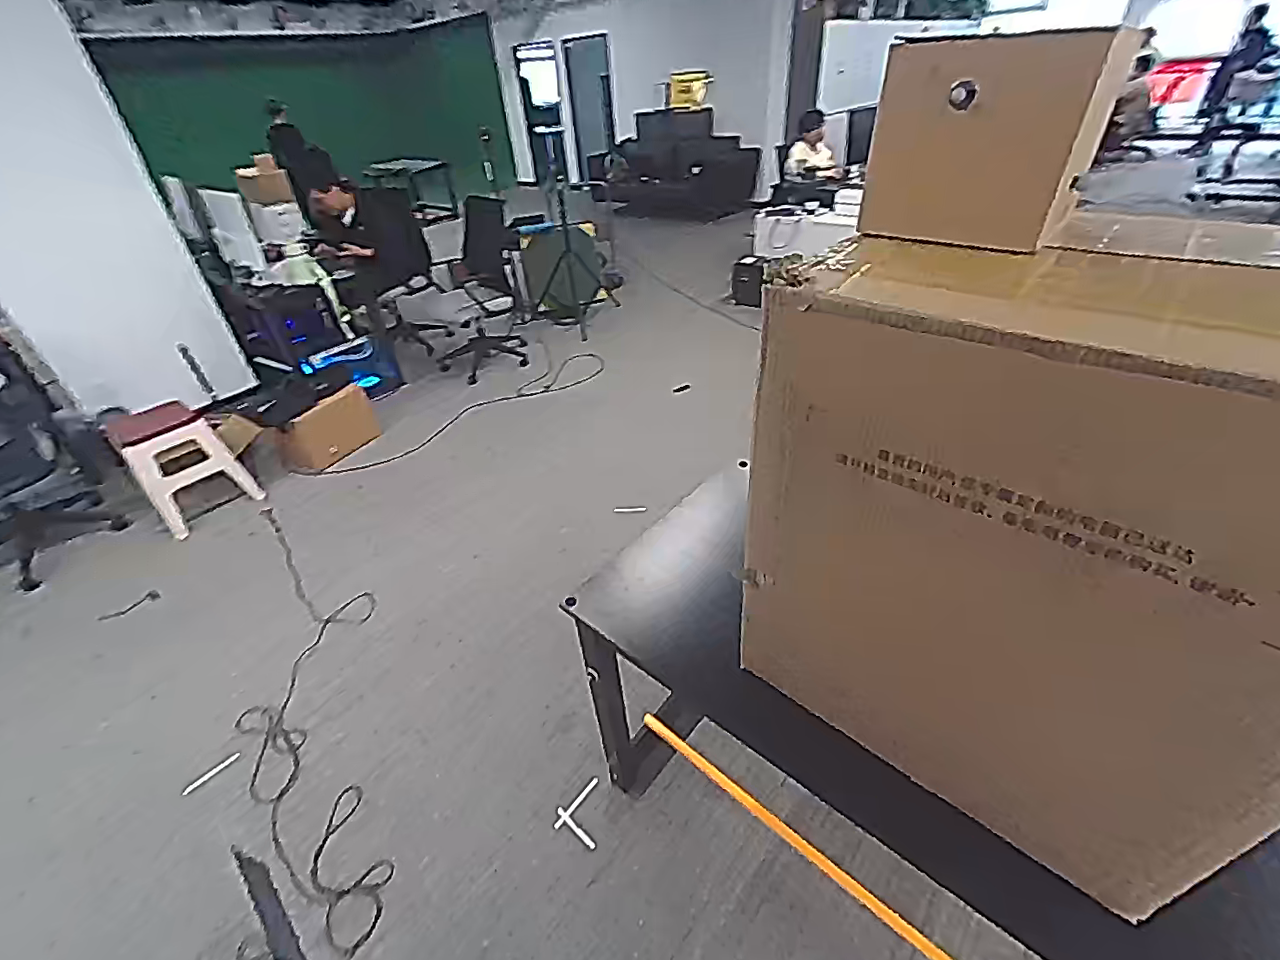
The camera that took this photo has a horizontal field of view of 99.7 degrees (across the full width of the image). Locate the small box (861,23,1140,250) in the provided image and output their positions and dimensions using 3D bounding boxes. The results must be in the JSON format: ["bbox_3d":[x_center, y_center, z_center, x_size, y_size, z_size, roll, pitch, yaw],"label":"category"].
[{"bbox_3d":[0.350,-0.343,0.549,0.179,0.176,0.168,26,45,33],"label":"small box"}]
